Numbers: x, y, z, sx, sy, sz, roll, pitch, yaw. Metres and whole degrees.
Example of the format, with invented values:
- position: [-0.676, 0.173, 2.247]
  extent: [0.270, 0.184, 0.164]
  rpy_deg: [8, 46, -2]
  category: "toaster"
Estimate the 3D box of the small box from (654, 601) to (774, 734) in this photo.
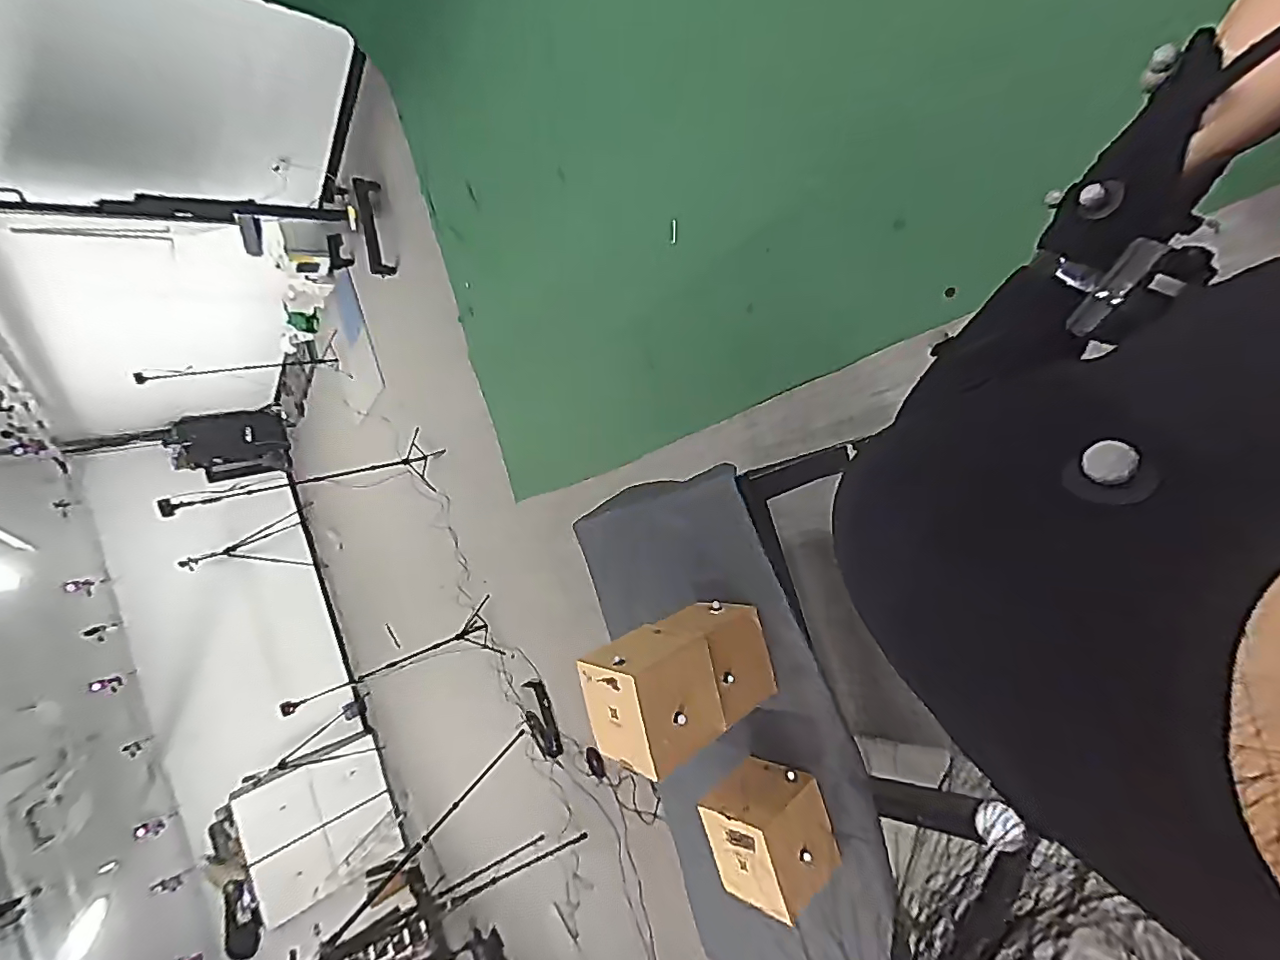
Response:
- position: [0.134, 0.349, 1.041]
  extent: [0.168, 0.176, 0.179]
  rpy_deg: [-14, 91, 50]
  category: "small box"

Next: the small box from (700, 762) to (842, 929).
- position: [0.248, 0.669, 1.018]
  extent: [0.168, 0.176, 0.179]
  rpy_deg: [-18, 90, 51]
  category: "small box"

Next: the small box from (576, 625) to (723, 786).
- position: [0.020, 0.371, 0.924]
  extent: [0.168, 0.176, 0.179]
  rpy_deg: [-9, 96, 50]
  category: "small box"
